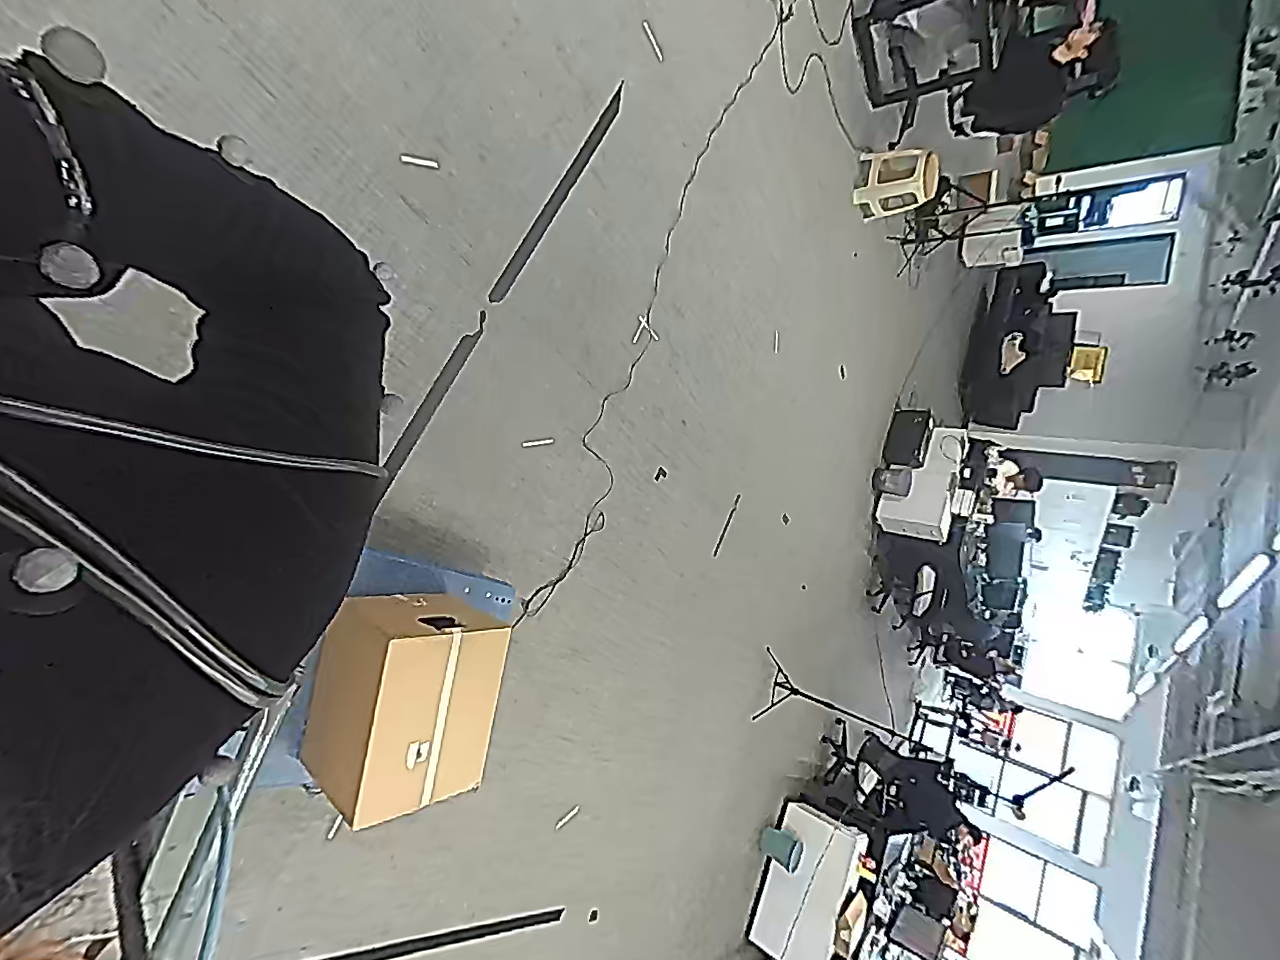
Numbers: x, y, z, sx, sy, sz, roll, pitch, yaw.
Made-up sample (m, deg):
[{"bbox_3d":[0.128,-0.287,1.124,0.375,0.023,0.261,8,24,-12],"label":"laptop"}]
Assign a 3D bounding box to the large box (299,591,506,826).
[{"bbox_3d":[-0.573,0.508,1.308,0.320,0.320,0.408,12,89,-50],"label":"large box"}]
